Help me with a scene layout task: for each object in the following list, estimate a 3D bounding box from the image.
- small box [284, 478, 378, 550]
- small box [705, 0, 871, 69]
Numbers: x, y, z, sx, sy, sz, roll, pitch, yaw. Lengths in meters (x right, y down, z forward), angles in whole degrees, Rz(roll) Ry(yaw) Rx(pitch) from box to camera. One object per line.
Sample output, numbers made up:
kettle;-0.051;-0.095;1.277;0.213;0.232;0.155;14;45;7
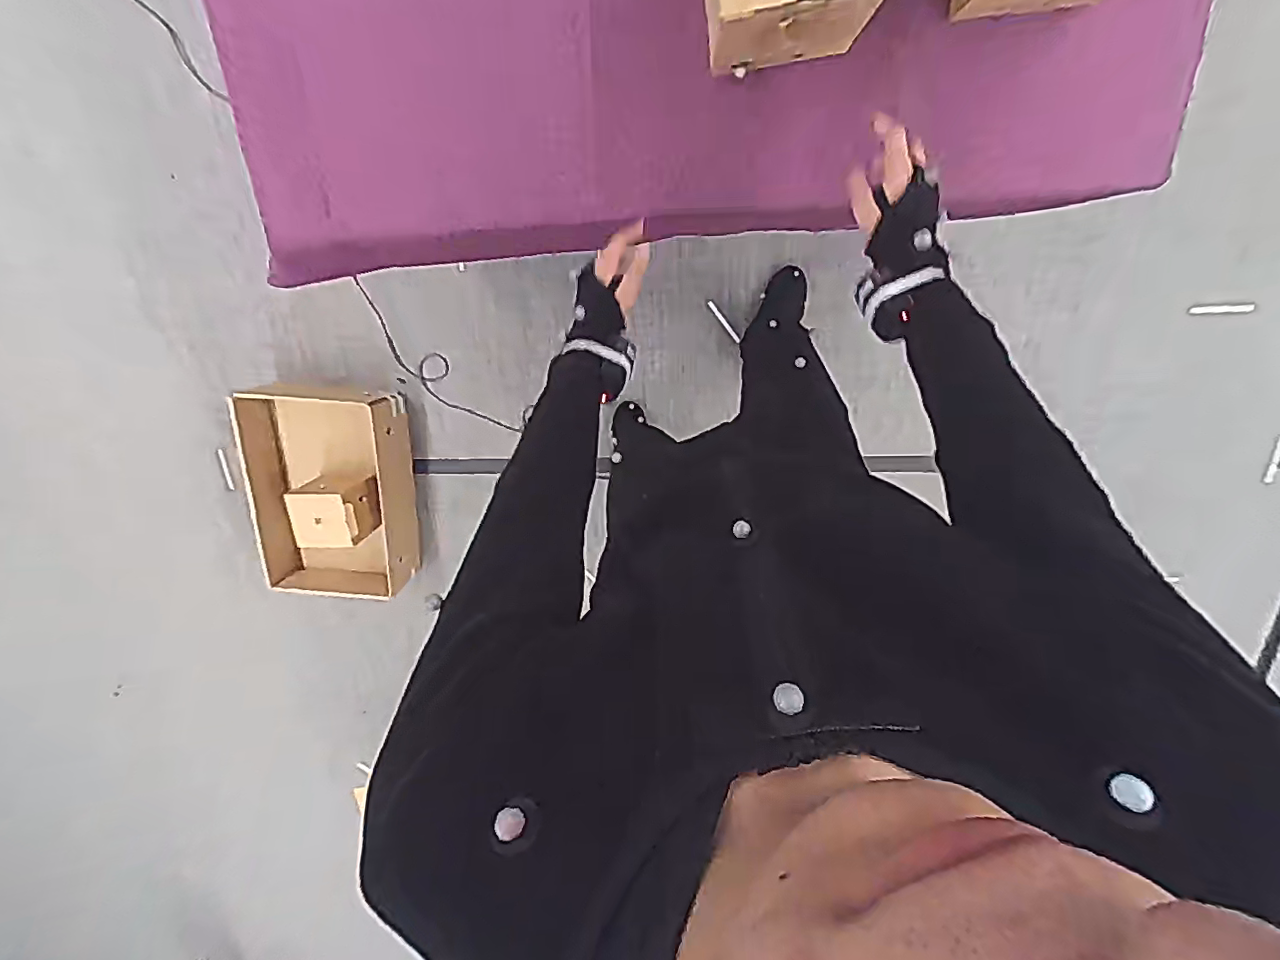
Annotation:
small box;-0.905;0.097;1.608;0.179;0.176;0.168;0;108;4
small box;0.155;-0.568;0.570;0.168;0.176;0.179;-6;109;6
